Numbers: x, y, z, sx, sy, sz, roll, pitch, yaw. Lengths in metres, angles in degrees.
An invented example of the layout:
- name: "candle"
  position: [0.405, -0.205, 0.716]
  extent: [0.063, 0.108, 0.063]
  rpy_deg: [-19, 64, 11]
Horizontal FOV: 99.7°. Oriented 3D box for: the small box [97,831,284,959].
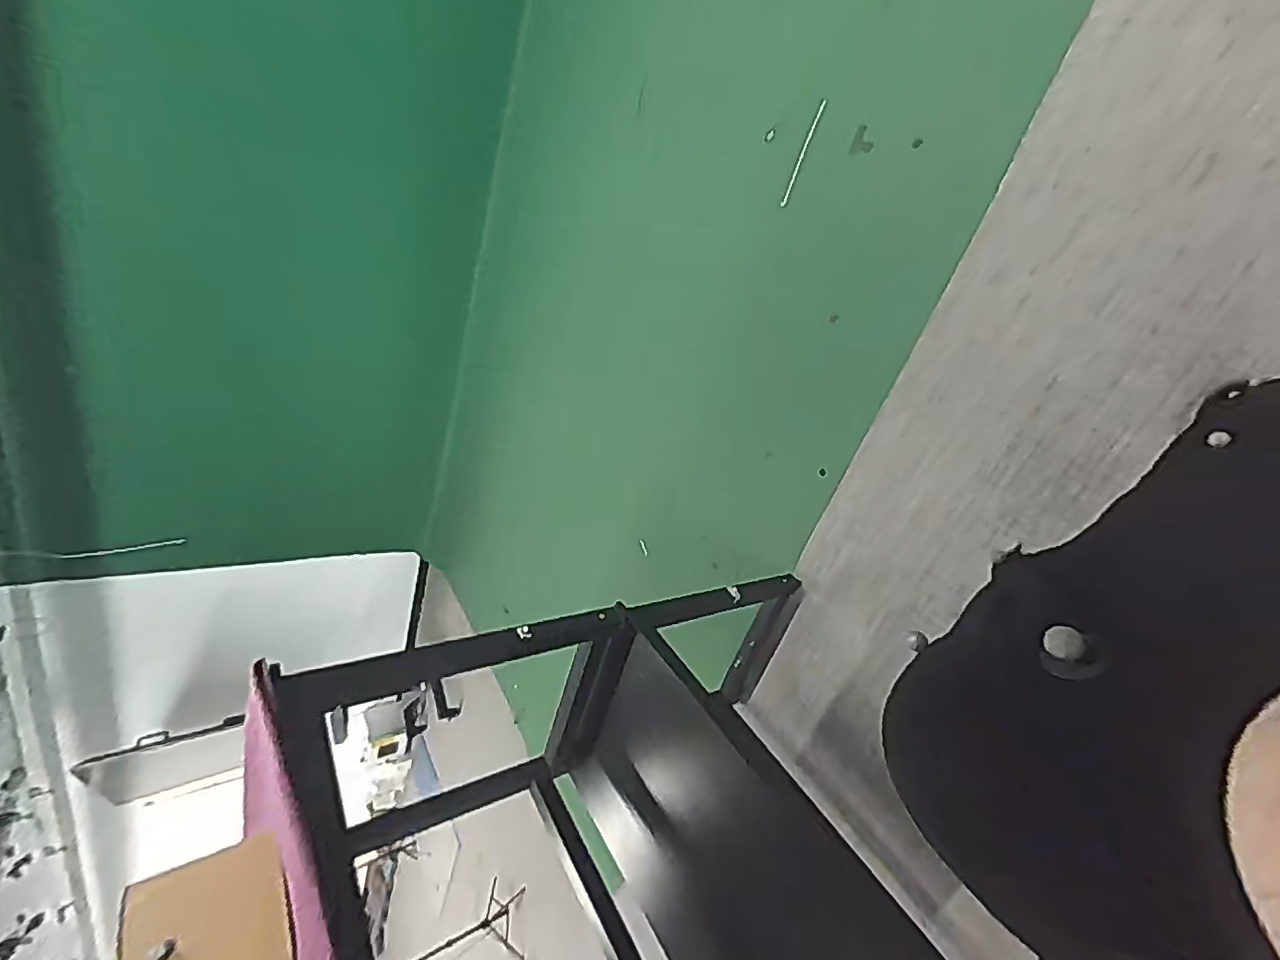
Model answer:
- name: "small box"
  position: [-0.566, 0.606, 0.695]
  extent: [0.179, 0.176, 0.168]
  rpy_deg: [43, 125, 41]
